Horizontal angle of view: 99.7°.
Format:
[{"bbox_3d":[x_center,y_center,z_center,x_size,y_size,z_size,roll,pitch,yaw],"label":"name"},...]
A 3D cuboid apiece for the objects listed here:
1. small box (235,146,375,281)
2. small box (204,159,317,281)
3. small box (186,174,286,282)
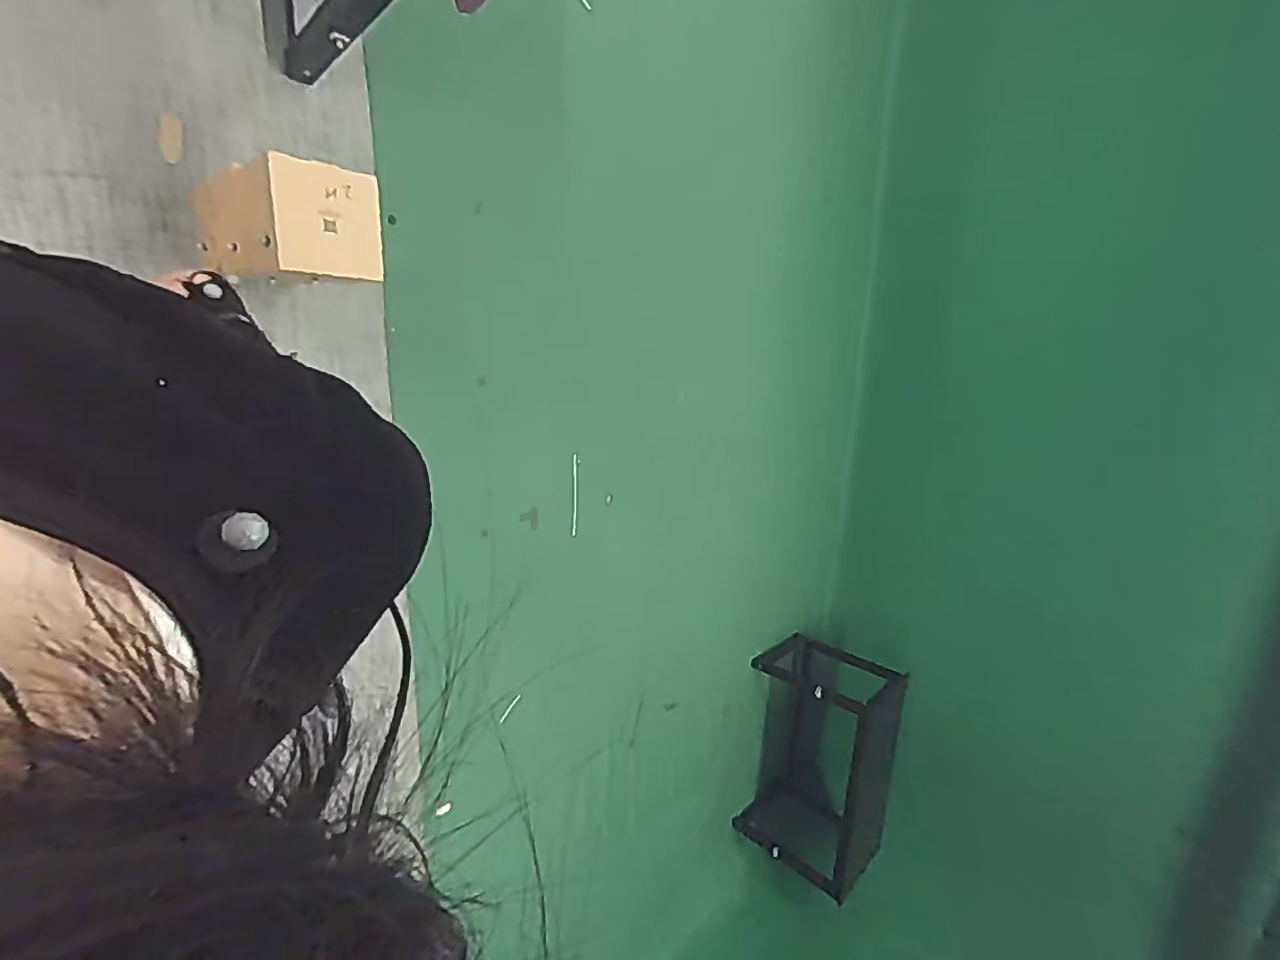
[{"bbox_3d":[-0.585,-0.450,0.948,0.168,0.176,0.179,-12,110,-46],"label":"small box"},{"bbox_3d":[-0.715,-0.488,1.043,0.168,0.176,0.179,-13,111,-46],"label":"small box"},{"bbox_3d":[-0.837,-0.519,1.145,0.179,0.176,0.168,-9,107,-47],"label":"small box"}]
